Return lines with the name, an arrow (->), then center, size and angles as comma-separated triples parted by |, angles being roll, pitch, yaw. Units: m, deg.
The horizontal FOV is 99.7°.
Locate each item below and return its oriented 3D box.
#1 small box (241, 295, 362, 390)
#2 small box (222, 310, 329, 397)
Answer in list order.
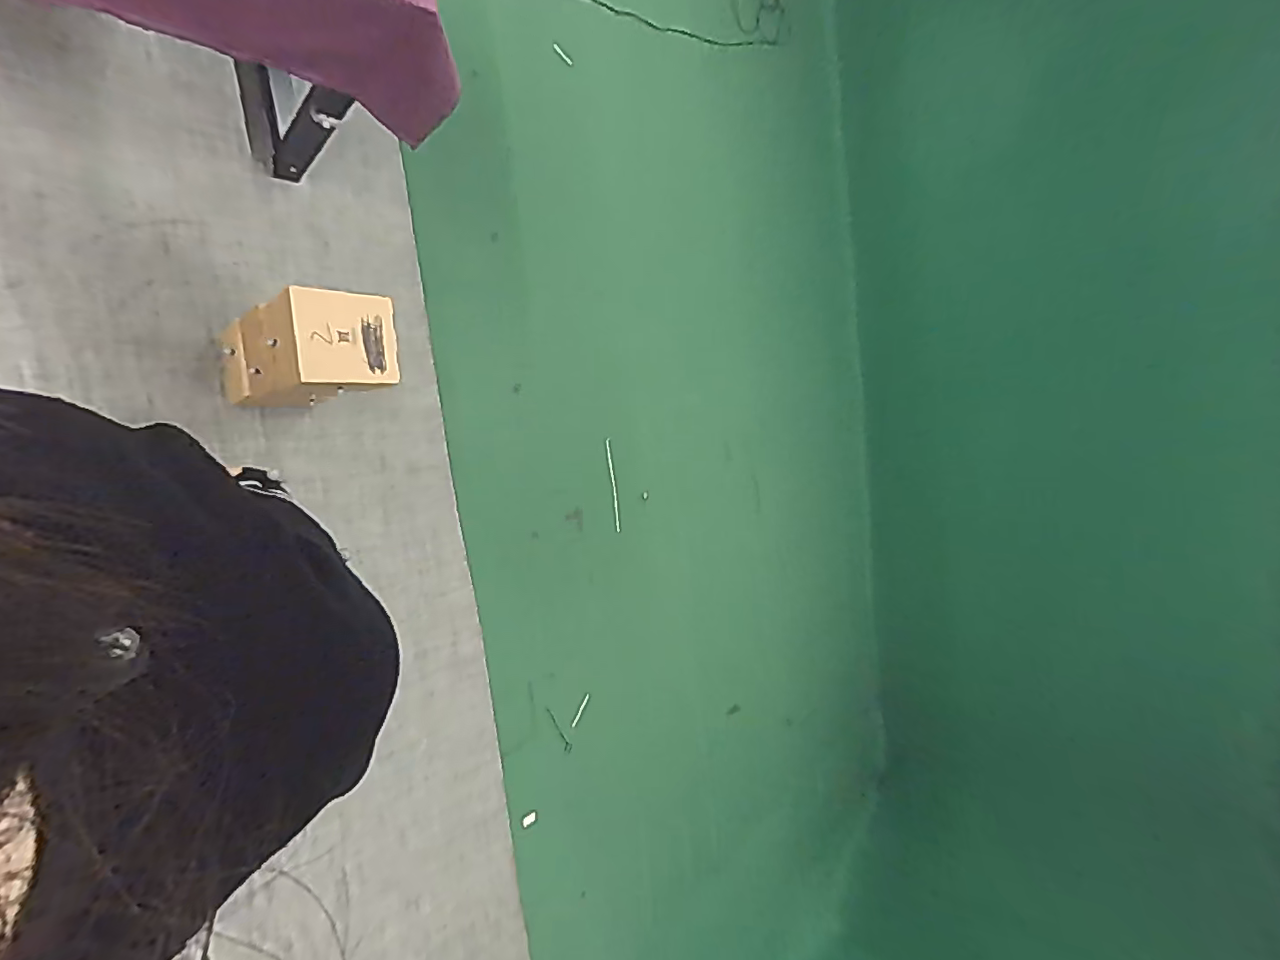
small box -> -0.722, -0.283, 1.148 | 0.179, 0.176, 0.168 | -12, 100, -47
small box -> -0.846, -0.284, 1.254 | 0.179, 0.176, 0.168 | -8, 96, -47
